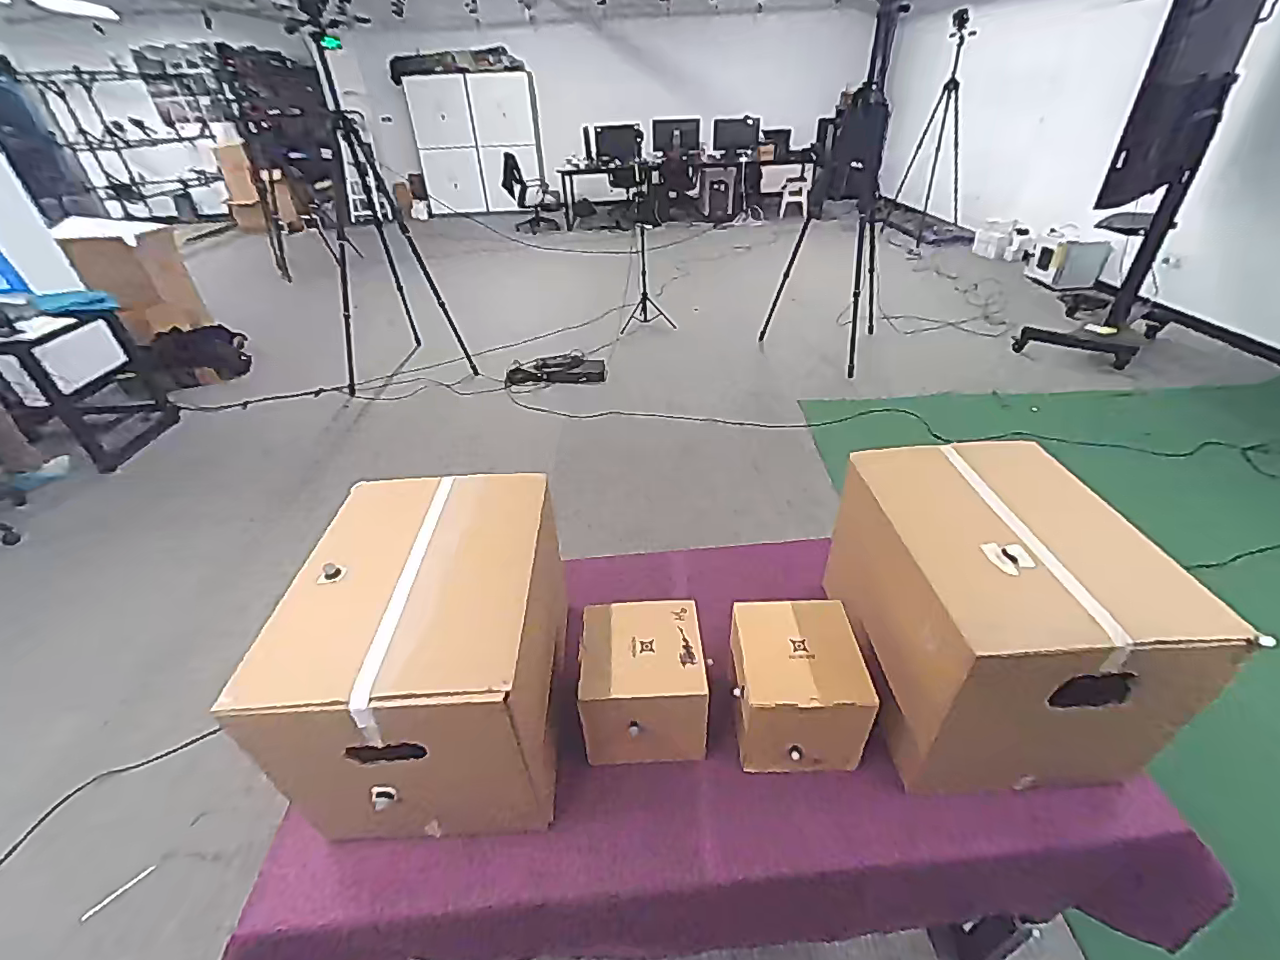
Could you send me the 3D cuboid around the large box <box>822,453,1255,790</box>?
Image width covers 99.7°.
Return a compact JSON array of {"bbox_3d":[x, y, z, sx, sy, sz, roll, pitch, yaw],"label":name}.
[{"bbox_3d":[0.514,0.196,0.831,0.320,0.320,0.408,-2,36,0],"label":"large box"}]
